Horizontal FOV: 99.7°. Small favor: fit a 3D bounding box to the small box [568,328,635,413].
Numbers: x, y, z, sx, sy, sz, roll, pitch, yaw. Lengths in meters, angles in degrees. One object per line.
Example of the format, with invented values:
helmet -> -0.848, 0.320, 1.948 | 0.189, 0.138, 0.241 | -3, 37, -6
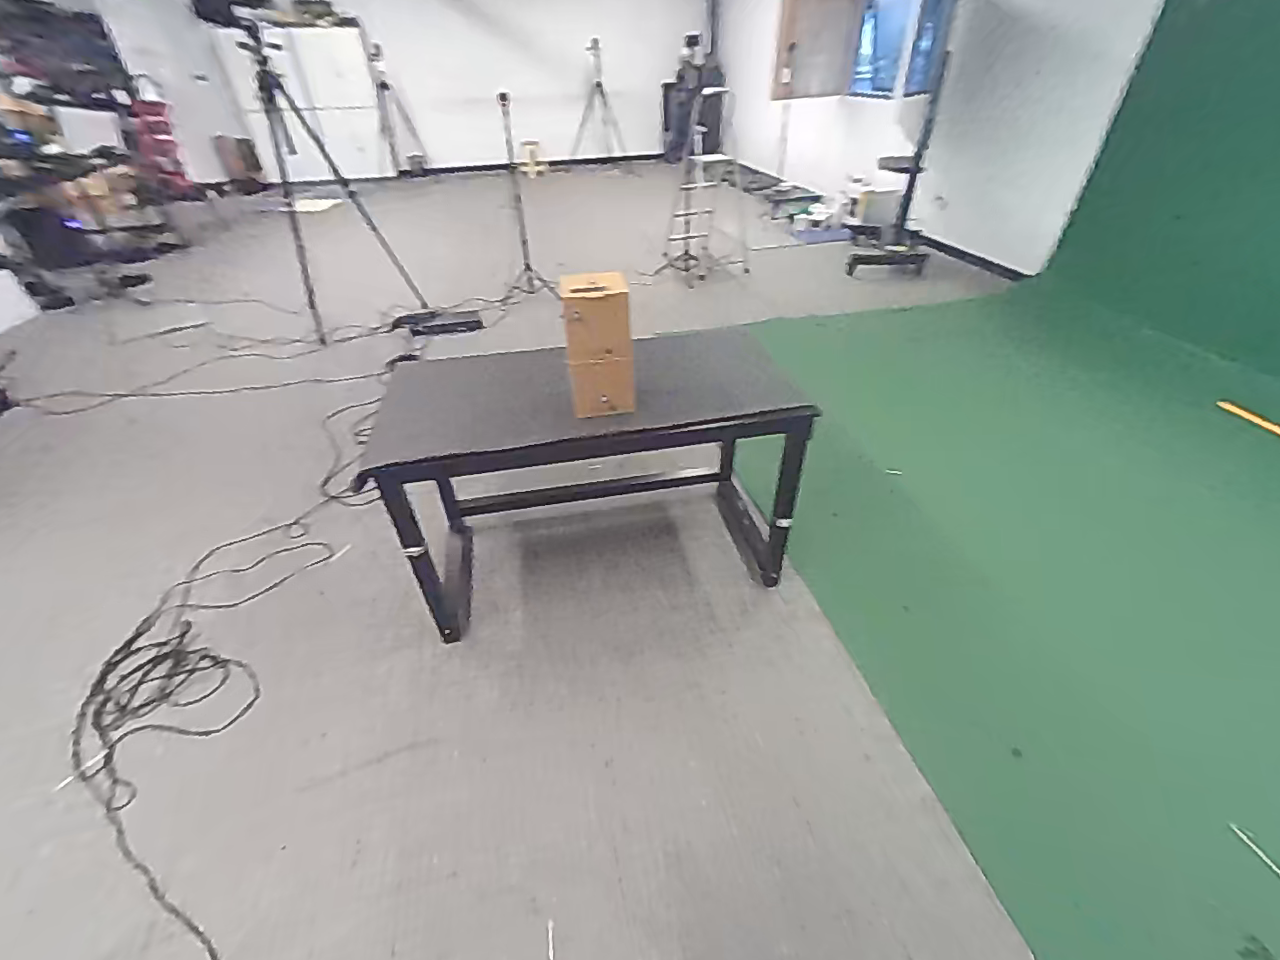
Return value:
small box -> -0.107, -0.305, 1.506 | 0.168, 0.176, 0.179 | -8, 39, -6
